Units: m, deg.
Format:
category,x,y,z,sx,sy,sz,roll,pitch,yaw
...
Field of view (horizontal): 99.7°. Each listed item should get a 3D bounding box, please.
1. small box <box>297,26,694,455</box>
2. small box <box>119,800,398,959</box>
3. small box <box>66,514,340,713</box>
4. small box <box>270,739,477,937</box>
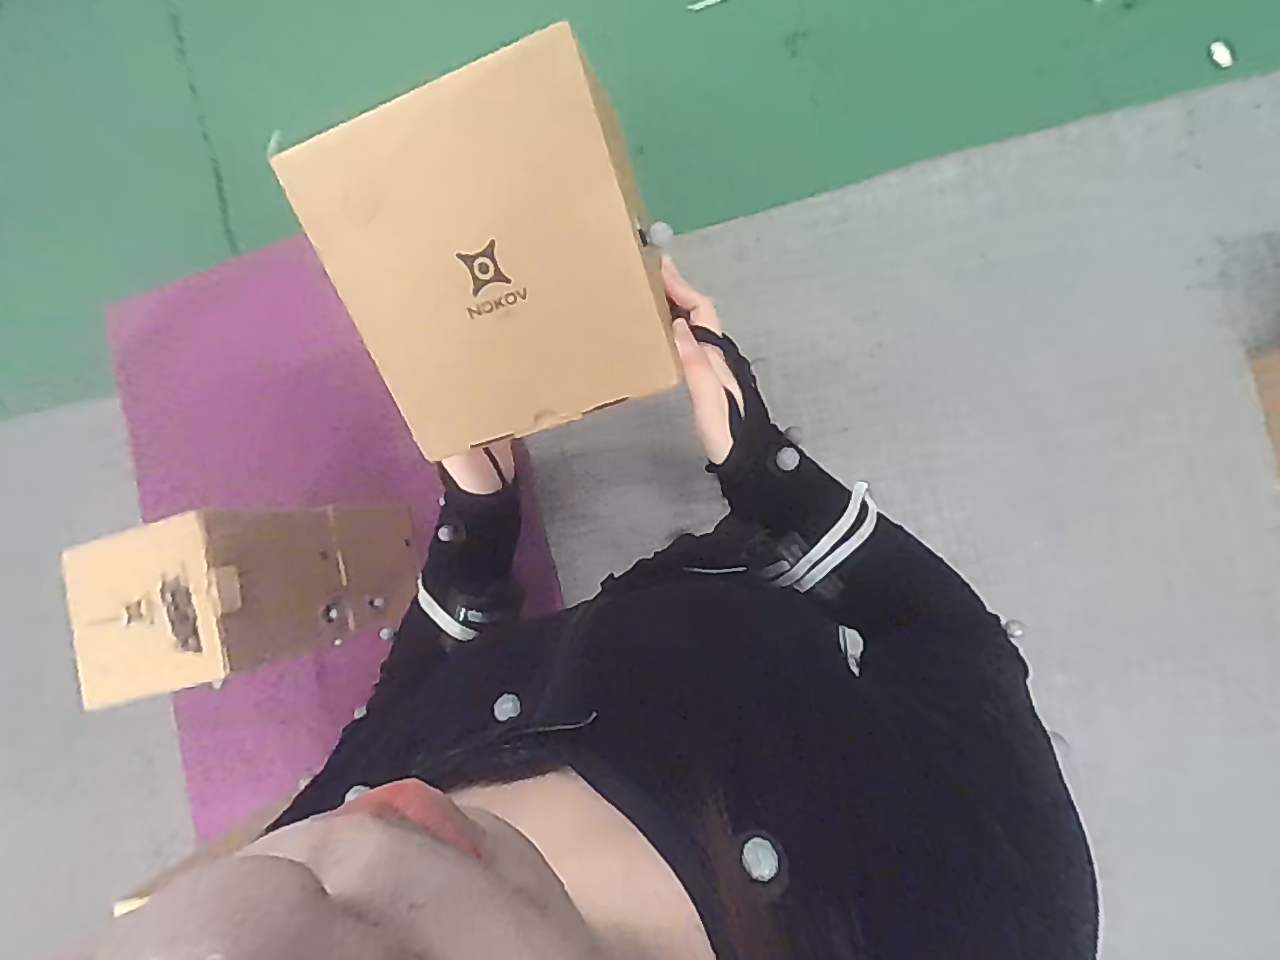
category,x,y,z,sx,sy,sz,roll,pitch,yaw
small box,-0.067,-0.142,0.361,0.168,0.176,0.179,-15,112,11
small box,-0.383,0.471,0.575,0.179,0.176,0.168,-14,84,9
small box,-0.471,0.137,0.610,0.179,0.176,0.168,-16,84,11
small box,-0.351,0.479,0.736,0.179,0.176,0.168,-14,85,9
